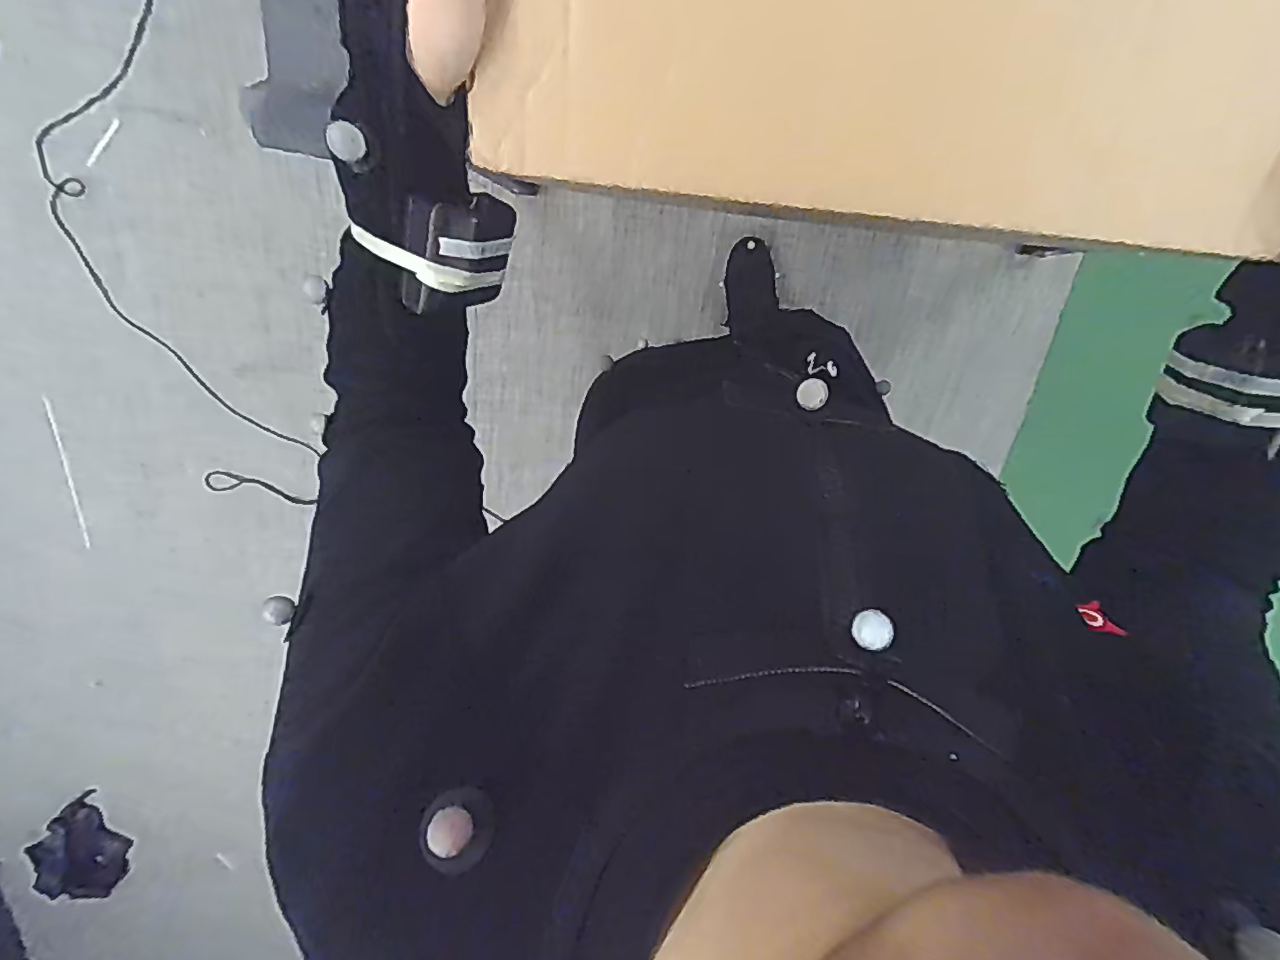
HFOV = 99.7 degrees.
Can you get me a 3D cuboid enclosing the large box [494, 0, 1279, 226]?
[{"bbox_3d":[0.144,-0.346,0.341,0.408,0.320,0.320,6,116,1],"label":"large box"}]
